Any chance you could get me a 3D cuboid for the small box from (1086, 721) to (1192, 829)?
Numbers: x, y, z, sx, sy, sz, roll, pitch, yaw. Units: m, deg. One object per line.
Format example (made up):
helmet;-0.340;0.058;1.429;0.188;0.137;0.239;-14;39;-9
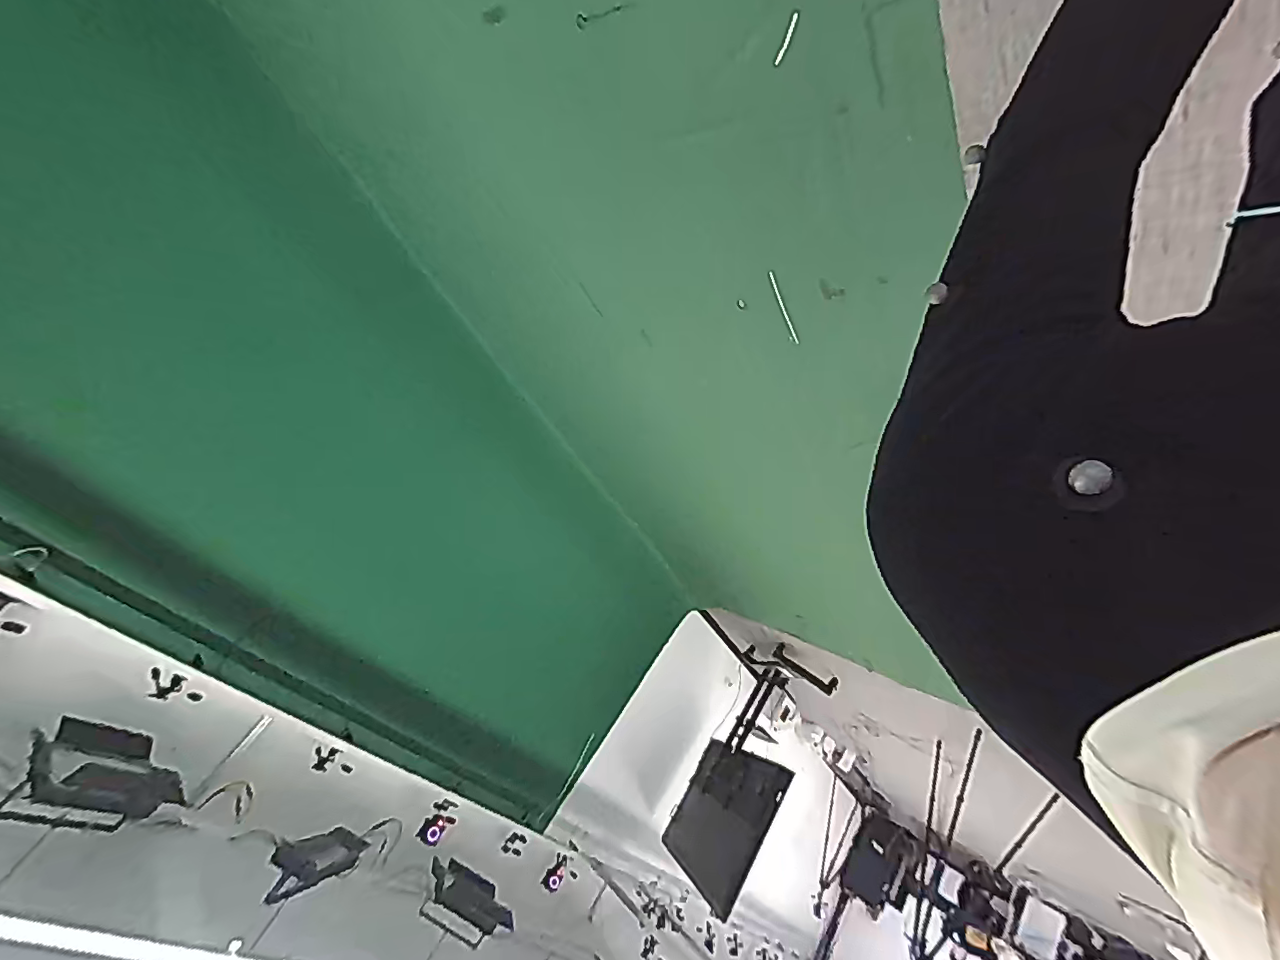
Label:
small box;1.313;0.767;1.427;0.179;0.176;0.168;11;147;48
